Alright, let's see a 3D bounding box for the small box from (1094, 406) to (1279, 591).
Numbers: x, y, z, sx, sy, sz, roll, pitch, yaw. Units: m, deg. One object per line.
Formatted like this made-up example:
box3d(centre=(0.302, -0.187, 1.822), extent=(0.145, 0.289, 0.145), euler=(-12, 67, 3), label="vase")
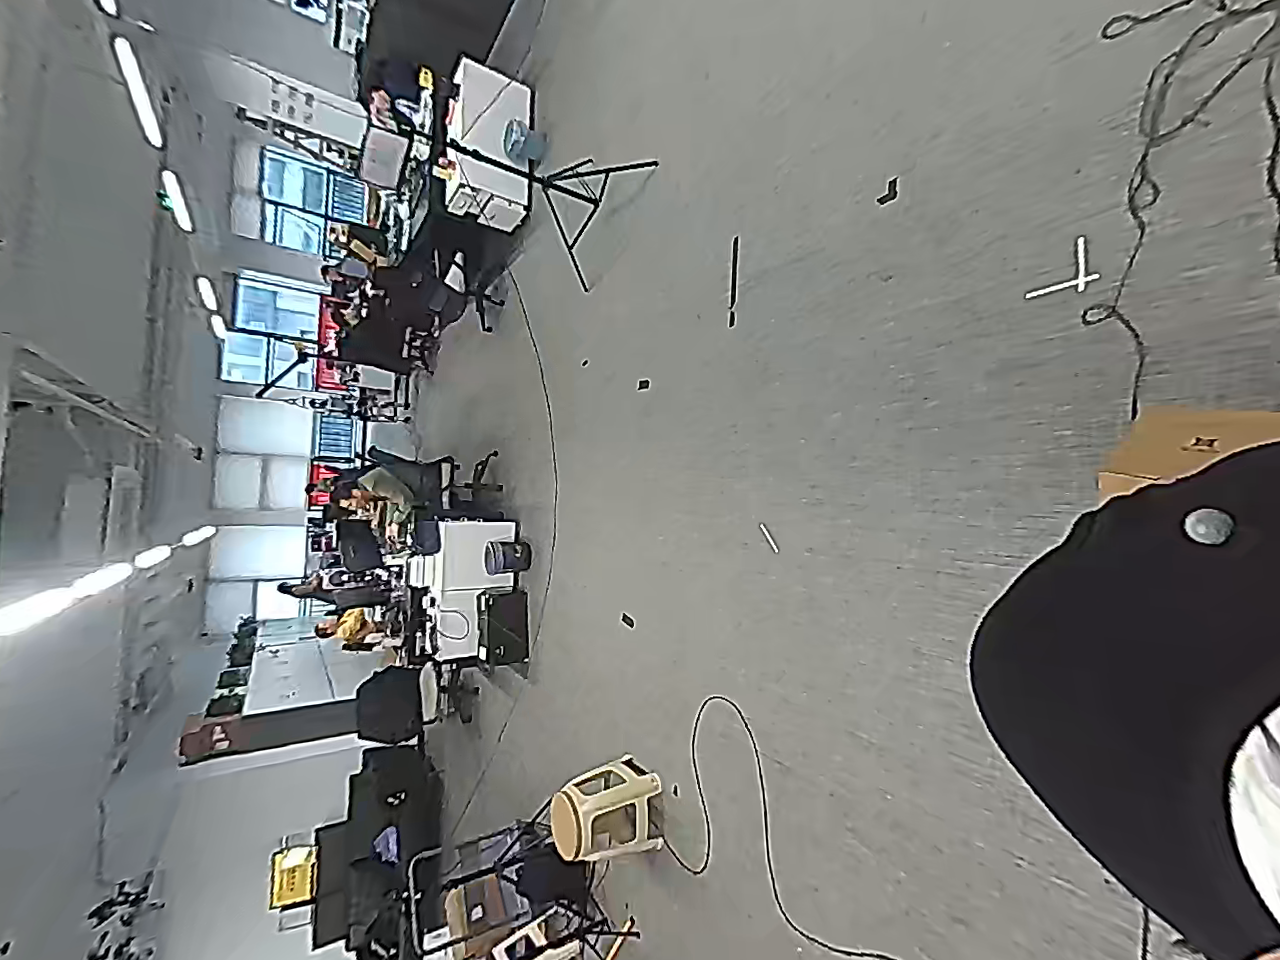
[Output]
box3d(centre=(0.749, 0.020, 0.728), extent=(0.168, 0.179, 0.176), euler=(17, 138, 53), label="small box")
